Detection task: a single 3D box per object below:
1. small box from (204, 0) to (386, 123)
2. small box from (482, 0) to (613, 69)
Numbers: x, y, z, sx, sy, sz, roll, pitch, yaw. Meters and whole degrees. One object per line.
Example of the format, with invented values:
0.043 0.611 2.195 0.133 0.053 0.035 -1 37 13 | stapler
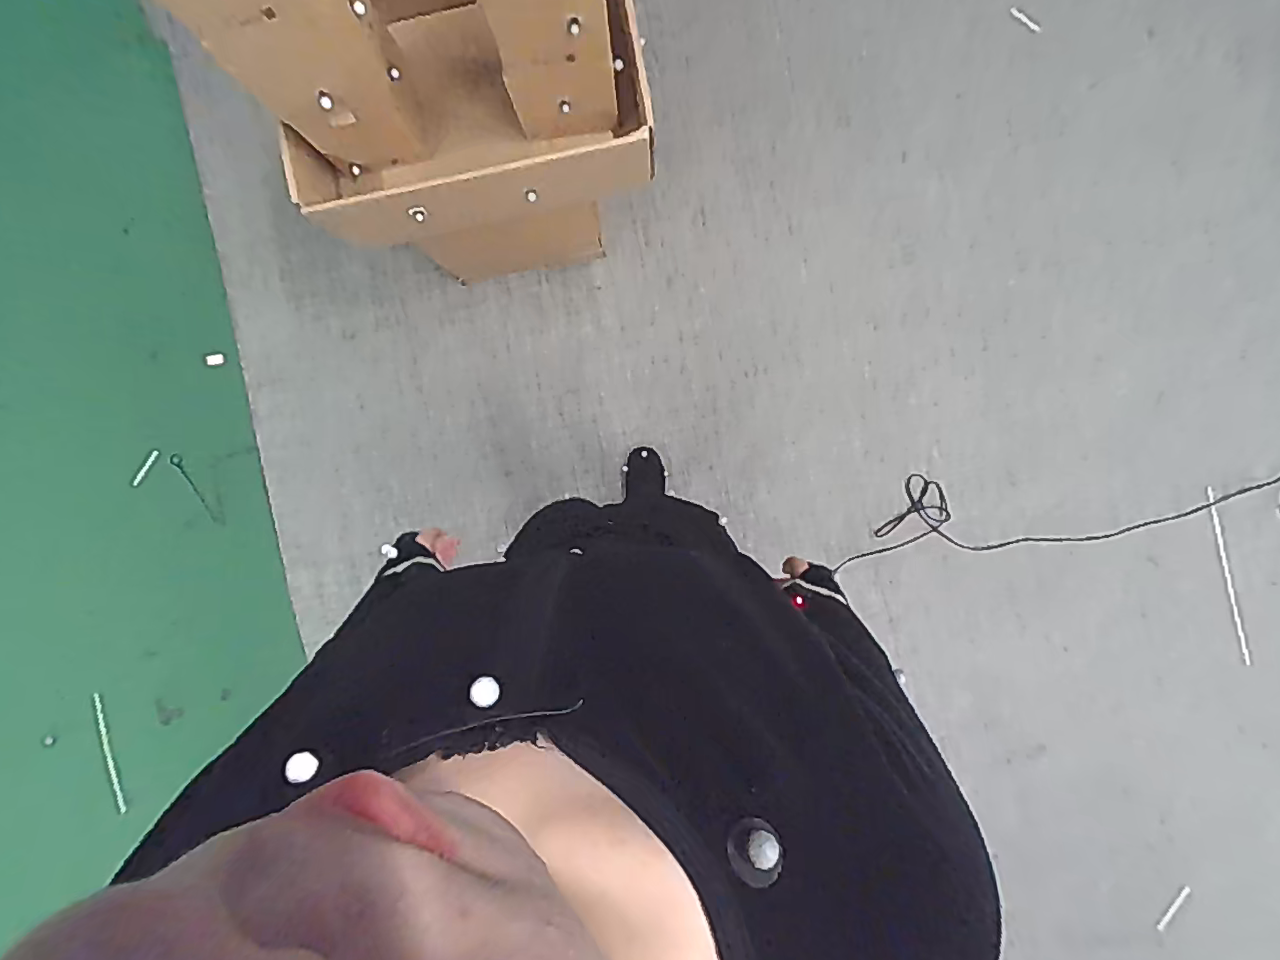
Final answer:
-0.492 -0.661 0.780 0.179 0.176 0.168 -12 91 3 | small box
-0.130 -0.720 0.762 0.168 0.176 0.179 -5 91 1 | small box
